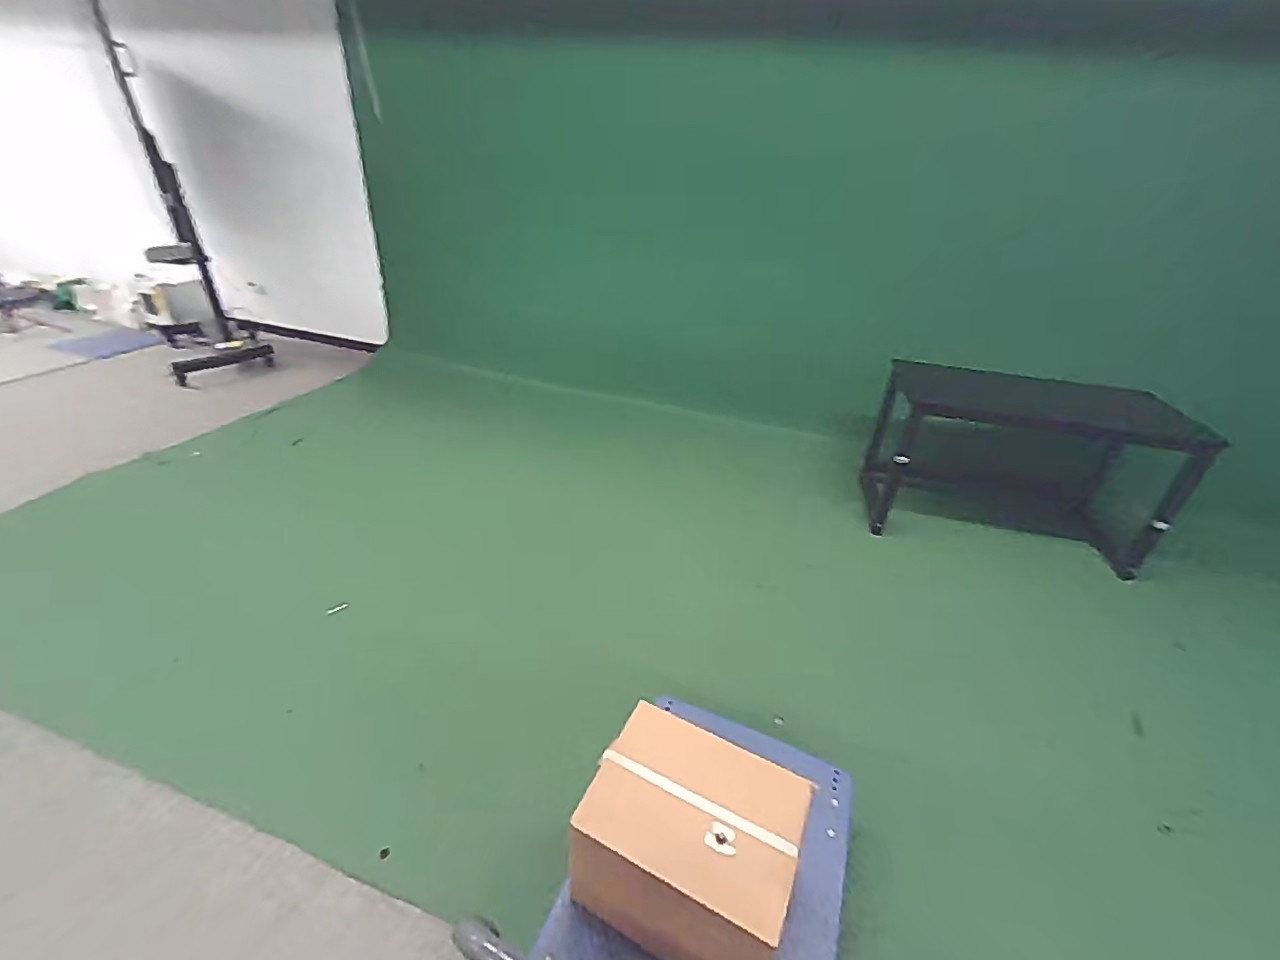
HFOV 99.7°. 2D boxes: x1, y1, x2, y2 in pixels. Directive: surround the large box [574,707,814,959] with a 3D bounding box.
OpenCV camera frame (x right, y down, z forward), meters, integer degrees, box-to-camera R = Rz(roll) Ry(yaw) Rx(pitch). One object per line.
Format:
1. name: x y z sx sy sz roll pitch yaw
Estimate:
1. large box: 0.108 0.776 1.155 0.408 0.320 0.320 18 33 20
